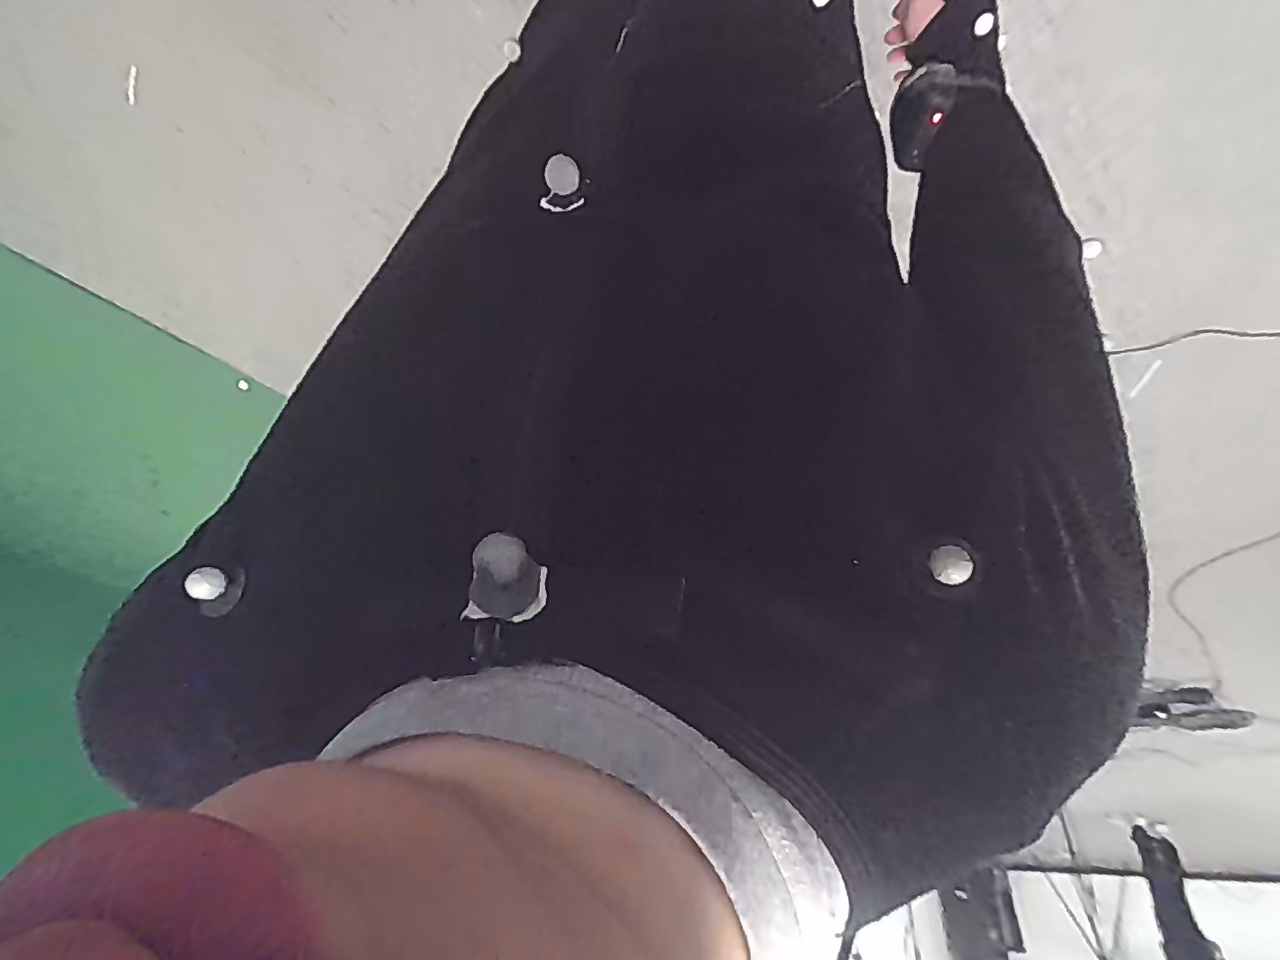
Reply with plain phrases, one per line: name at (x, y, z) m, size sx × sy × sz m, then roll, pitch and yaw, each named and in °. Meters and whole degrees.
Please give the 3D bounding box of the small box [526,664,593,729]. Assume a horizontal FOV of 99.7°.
small box at (-0.293, 0.805, 2.011) m, size 0.168 × 0.176 × 0.179 m, roll 31°, pitch 136°, yaw -24°
